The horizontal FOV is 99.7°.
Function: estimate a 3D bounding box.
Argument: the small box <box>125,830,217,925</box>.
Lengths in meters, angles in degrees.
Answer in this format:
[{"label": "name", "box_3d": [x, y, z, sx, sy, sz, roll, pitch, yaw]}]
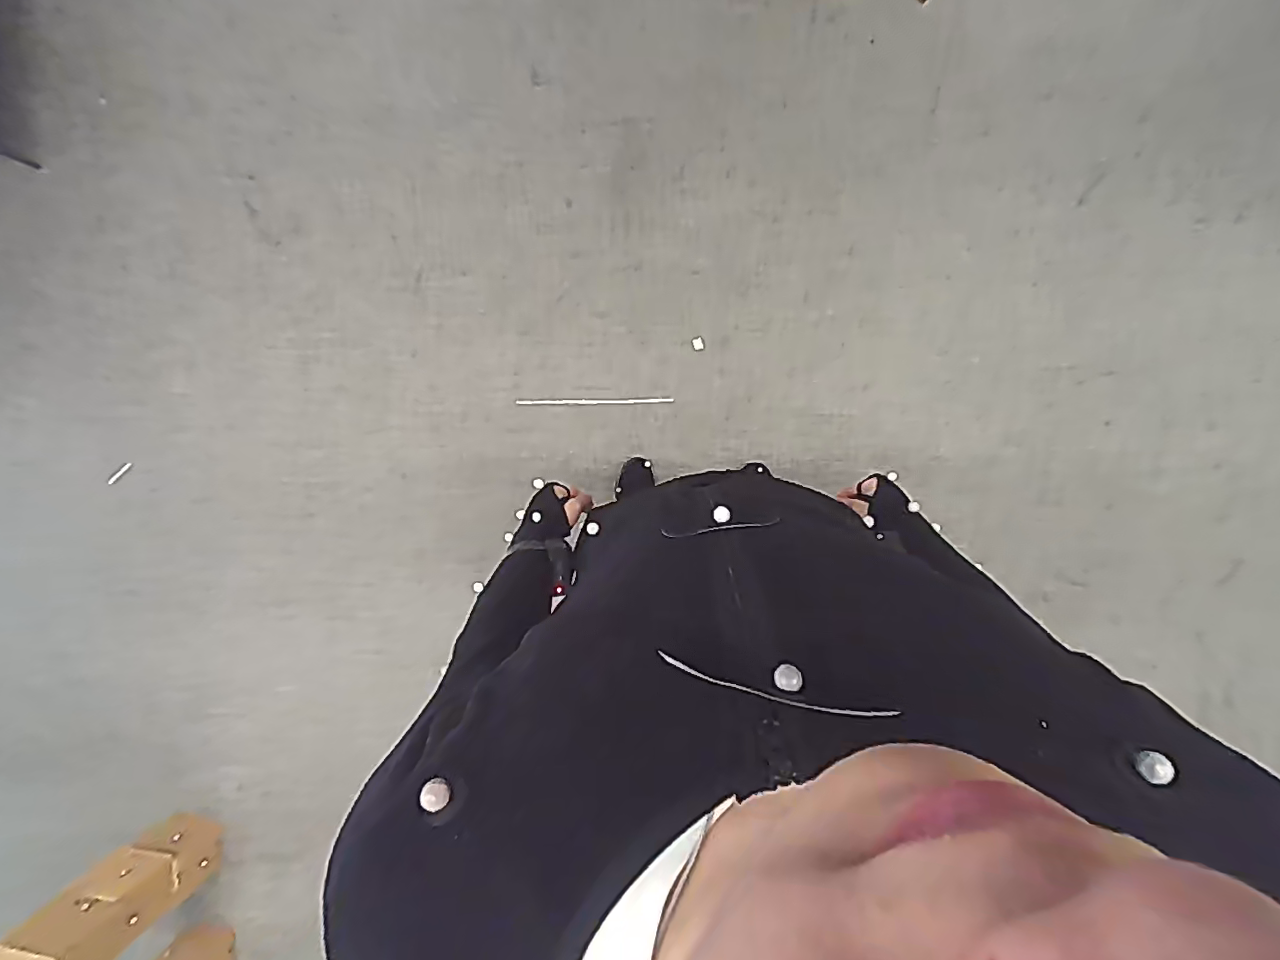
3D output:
[{"label": "small box", "box_3d": [-1.467, 1.228, 1.682, 0.179, 0.176, 0.168, 7, 92, 2]}]

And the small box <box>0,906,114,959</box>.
[{"label": "small box", "box_3d": [-1.484, 1.235, 1.357, 0.168, 0.176, 0.179, 10, 93, 2]}]

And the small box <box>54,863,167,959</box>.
[{"label": "small box", "box_3d": [-1.484, 1.224, 1.520, 0.168, 0.176, 0.179, 6, 93, 4]}]
